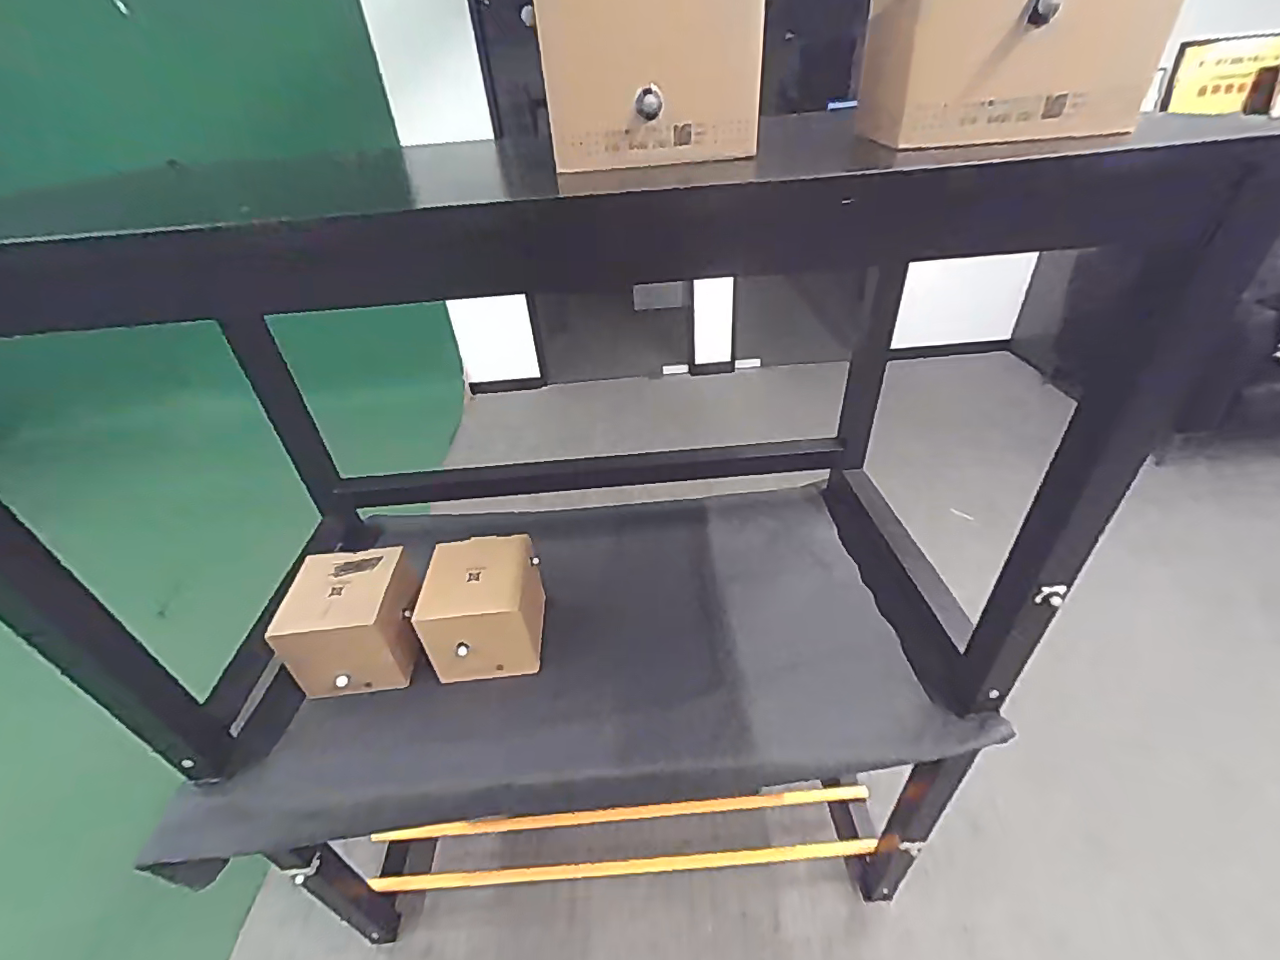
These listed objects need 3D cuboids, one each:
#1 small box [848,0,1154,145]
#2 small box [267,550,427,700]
[{"bbox_3d":[0.272,-0.370,0.426,0.168,0.176,0.179,1,36,8],"label":"small box"},{"bbox_3d":[-0.481,0.245,0.924,0.168,0.176,0.179,-6,36,-2],"label":"small box"}]
